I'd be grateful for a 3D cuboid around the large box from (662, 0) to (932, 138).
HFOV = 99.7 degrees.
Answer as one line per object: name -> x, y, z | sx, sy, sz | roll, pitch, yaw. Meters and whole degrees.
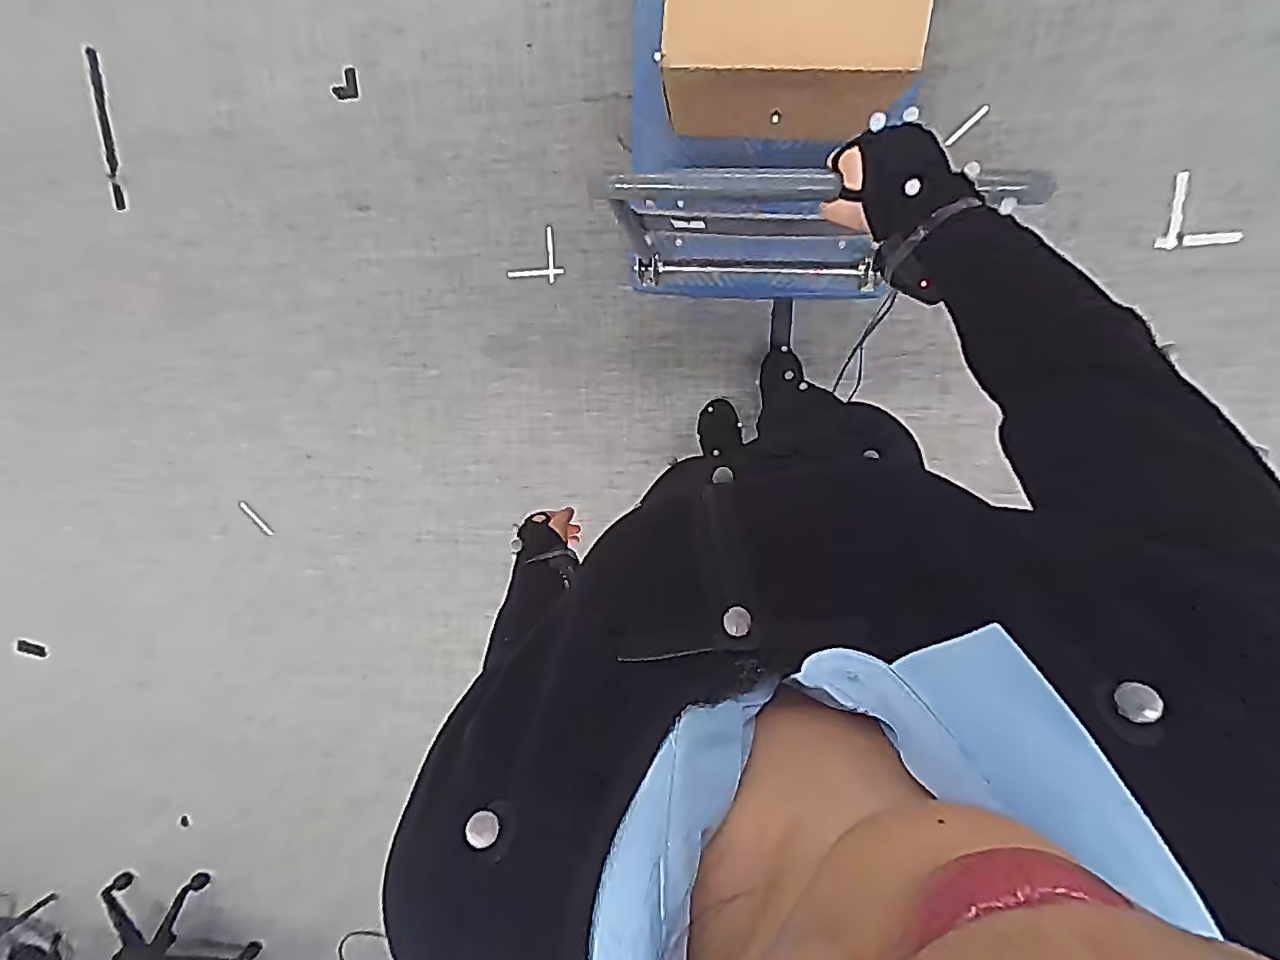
large box -> 0.262, -0.824, 0.948 | 0.408, 0.320, 0.320 | 5, 103, 8
